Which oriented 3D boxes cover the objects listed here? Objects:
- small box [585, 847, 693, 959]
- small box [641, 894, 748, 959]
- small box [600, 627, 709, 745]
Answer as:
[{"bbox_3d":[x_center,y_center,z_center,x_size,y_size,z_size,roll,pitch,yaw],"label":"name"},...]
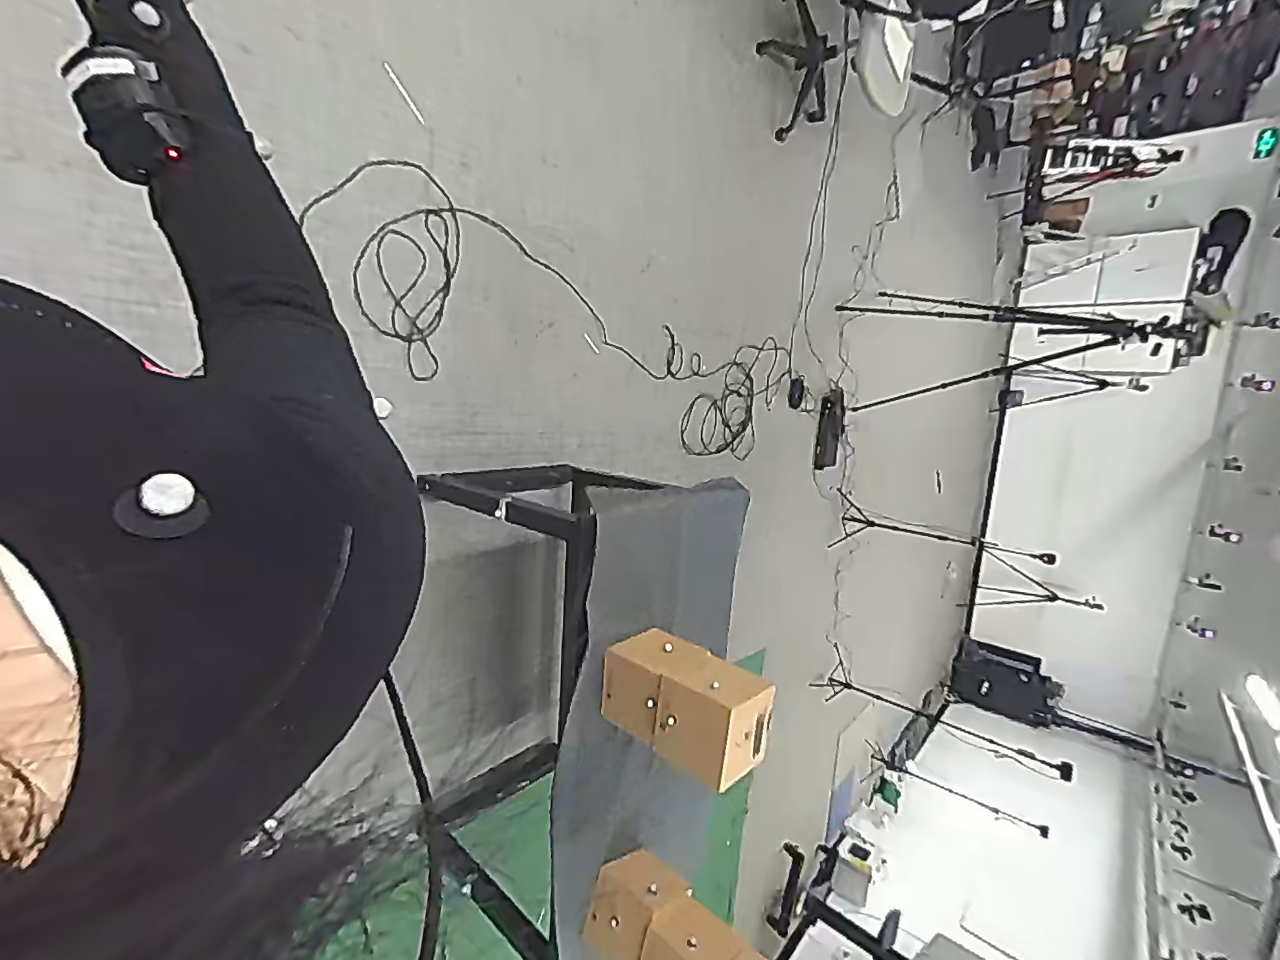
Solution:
[{"bbox_3d":[-0.005,1.027,1.297,0.179,0.176,0.168,25,79,-51],"label":"small box"},{"bbox_3d":[0.109,1.070,1.189,0.179,0.176,0.168,18,86,-52],"label":"small box"},{"bbox_3d":[0.033,0.451,1.217,0.179,0.176,0.168,-6,103,-49],"label":"small box"}]
